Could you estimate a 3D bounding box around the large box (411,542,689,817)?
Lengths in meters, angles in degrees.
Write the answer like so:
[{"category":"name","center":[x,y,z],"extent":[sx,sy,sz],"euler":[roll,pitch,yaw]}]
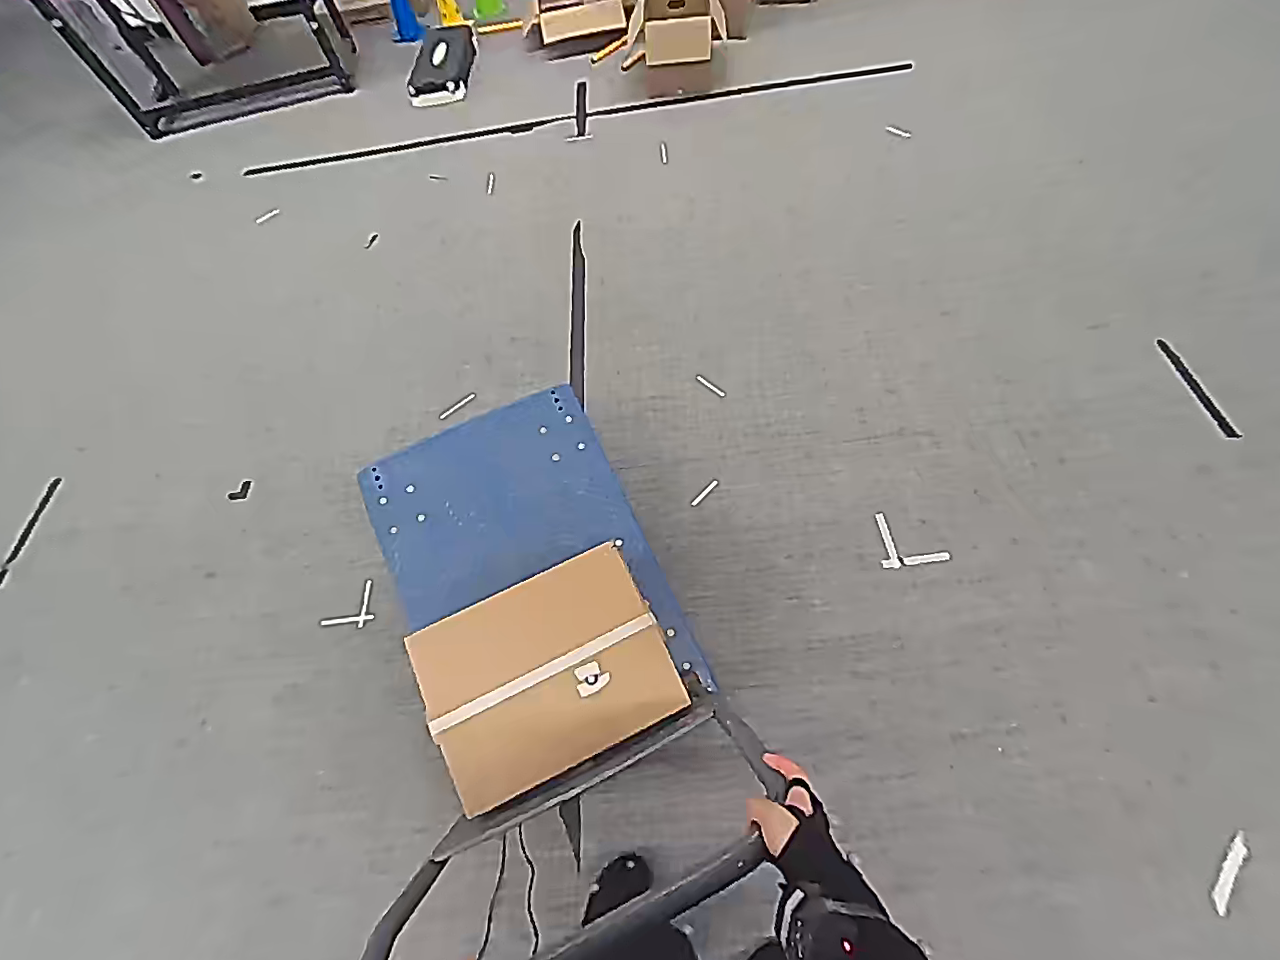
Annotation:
[{"category":"large box","center":[-0.161,0.372,1.074],"extent":[0.408,0.320,0.320],"euler":[-26,77,-9]}]
